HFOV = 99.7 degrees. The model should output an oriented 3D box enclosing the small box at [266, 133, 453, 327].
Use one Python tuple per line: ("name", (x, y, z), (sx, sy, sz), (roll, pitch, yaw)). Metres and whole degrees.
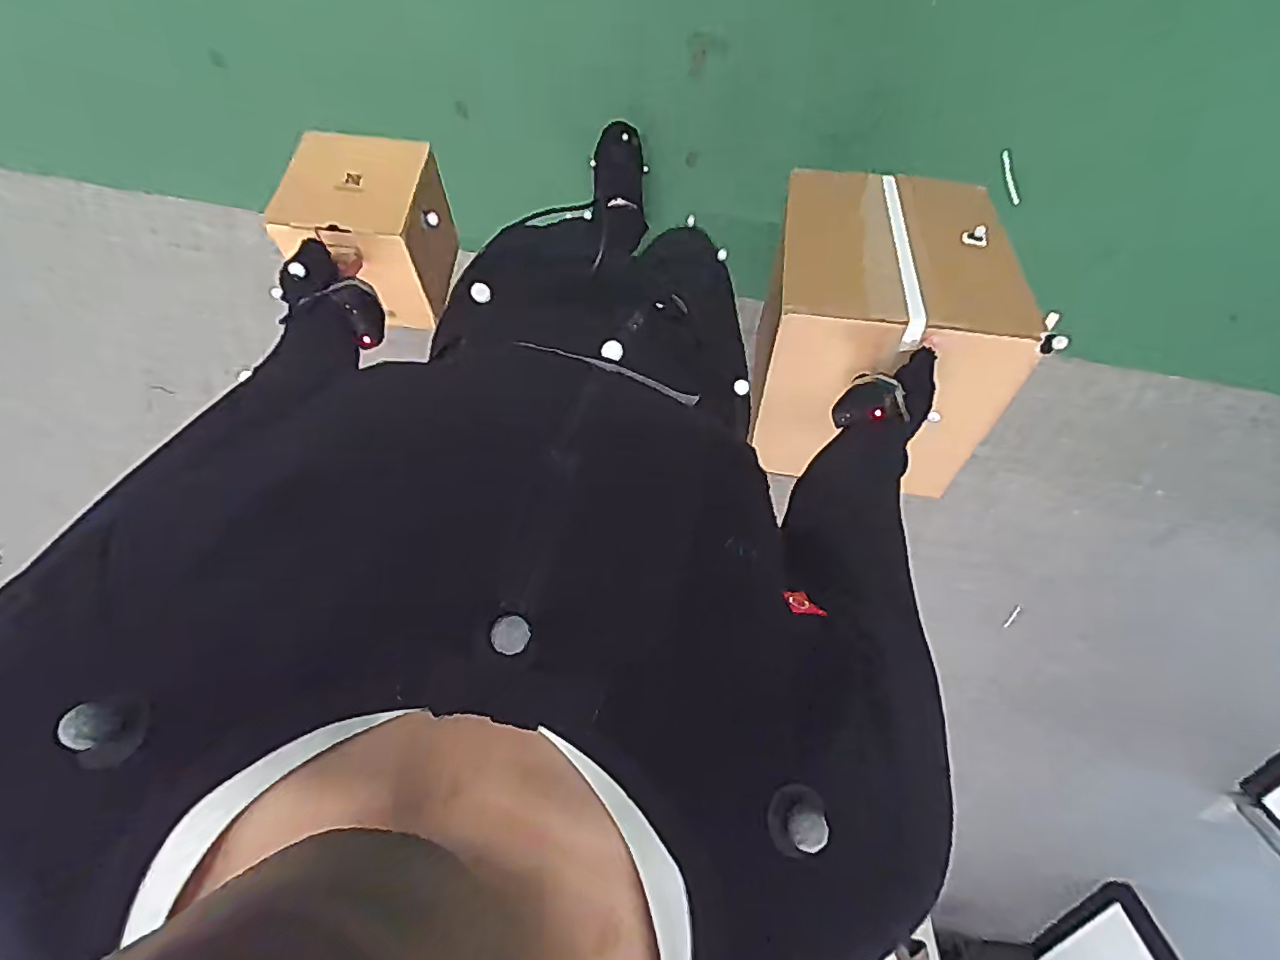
("small box", (-0.373, -0.344, 0.761), (0.168, 0.179, 0.176), (4, 156, -3))
